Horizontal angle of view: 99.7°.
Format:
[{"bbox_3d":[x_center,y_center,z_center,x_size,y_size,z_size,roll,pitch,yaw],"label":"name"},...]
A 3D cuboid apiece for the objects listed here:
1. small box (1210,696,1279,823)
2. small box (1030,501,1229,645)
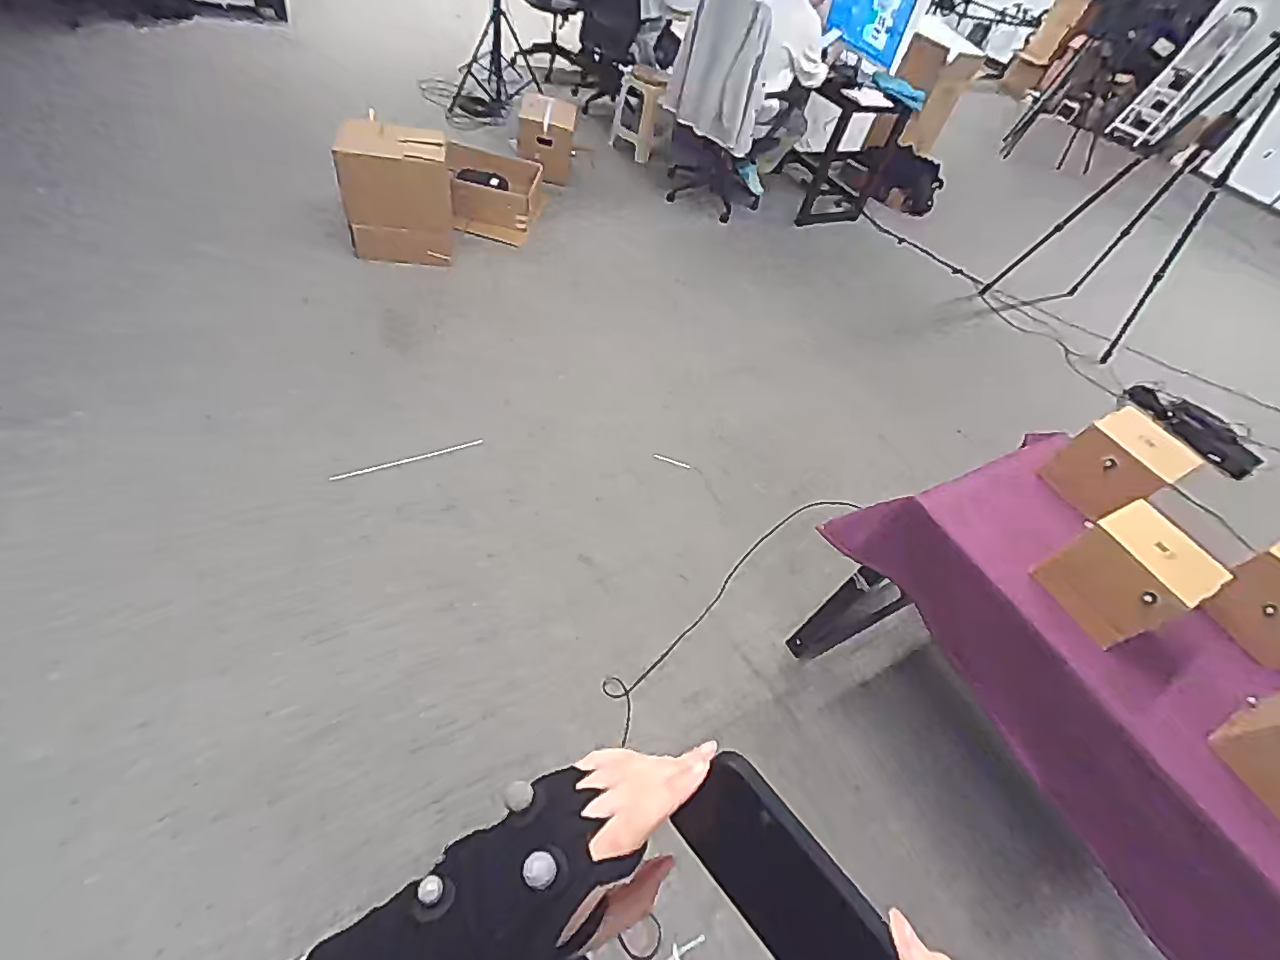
[{"bbox_3d":[1.047,0.427,0.817,0.168,0.176,0.179,-14,57,-24],"label":"small box"},{"bbox_3d":[0.872,0.169,0.982,0.168,0.176,0.179,-15,58,-25],"label":"small box"}]
